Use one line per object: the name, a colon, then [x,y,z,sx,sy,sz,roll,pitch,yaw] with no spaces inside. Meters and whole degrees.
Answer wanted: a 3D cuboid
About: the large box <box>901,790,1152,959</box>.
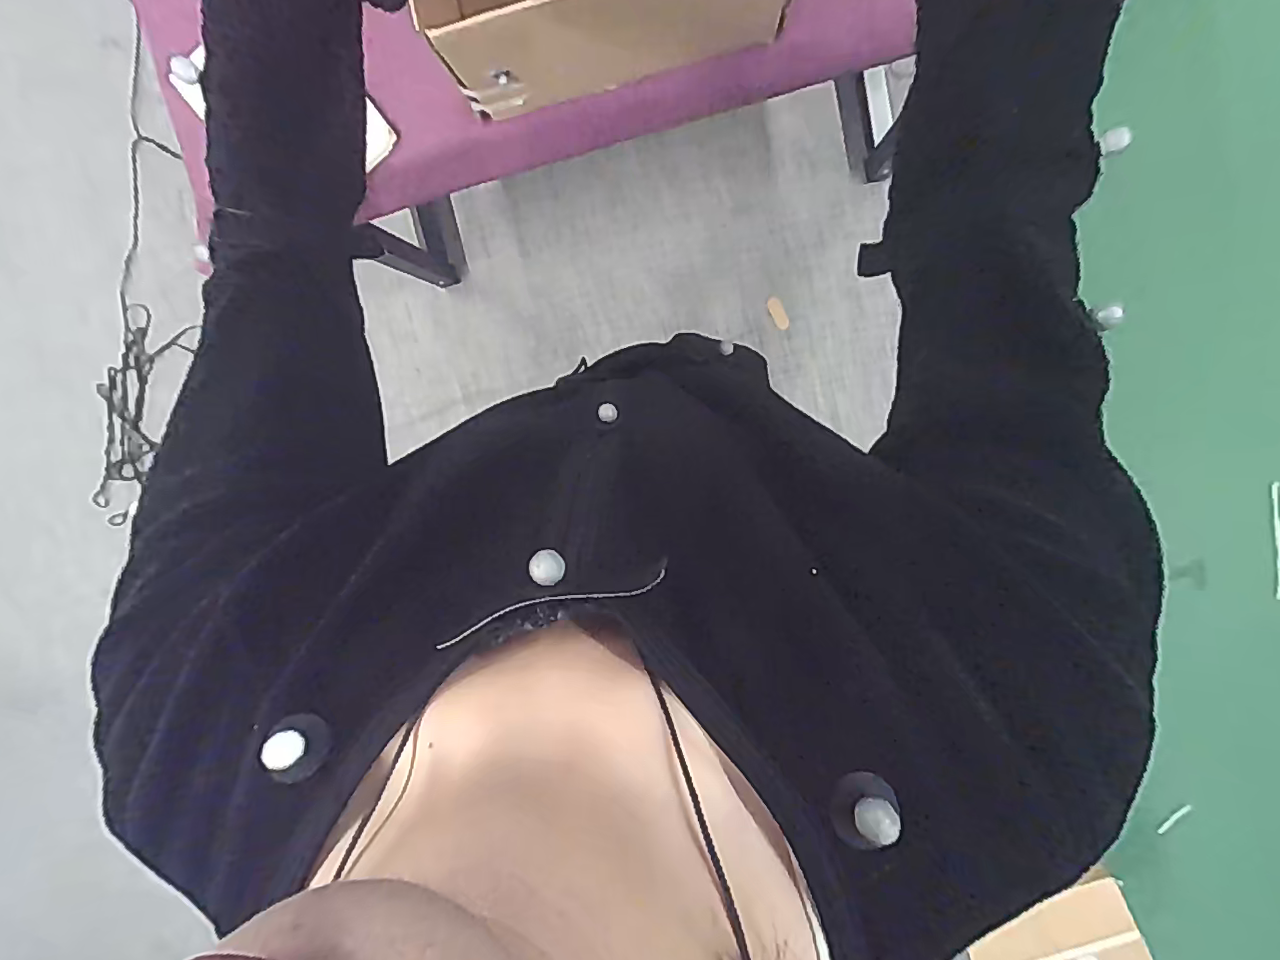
large box: [0.992,1.115,1.426,0.408,0.320,0.320,-27,96,8]
